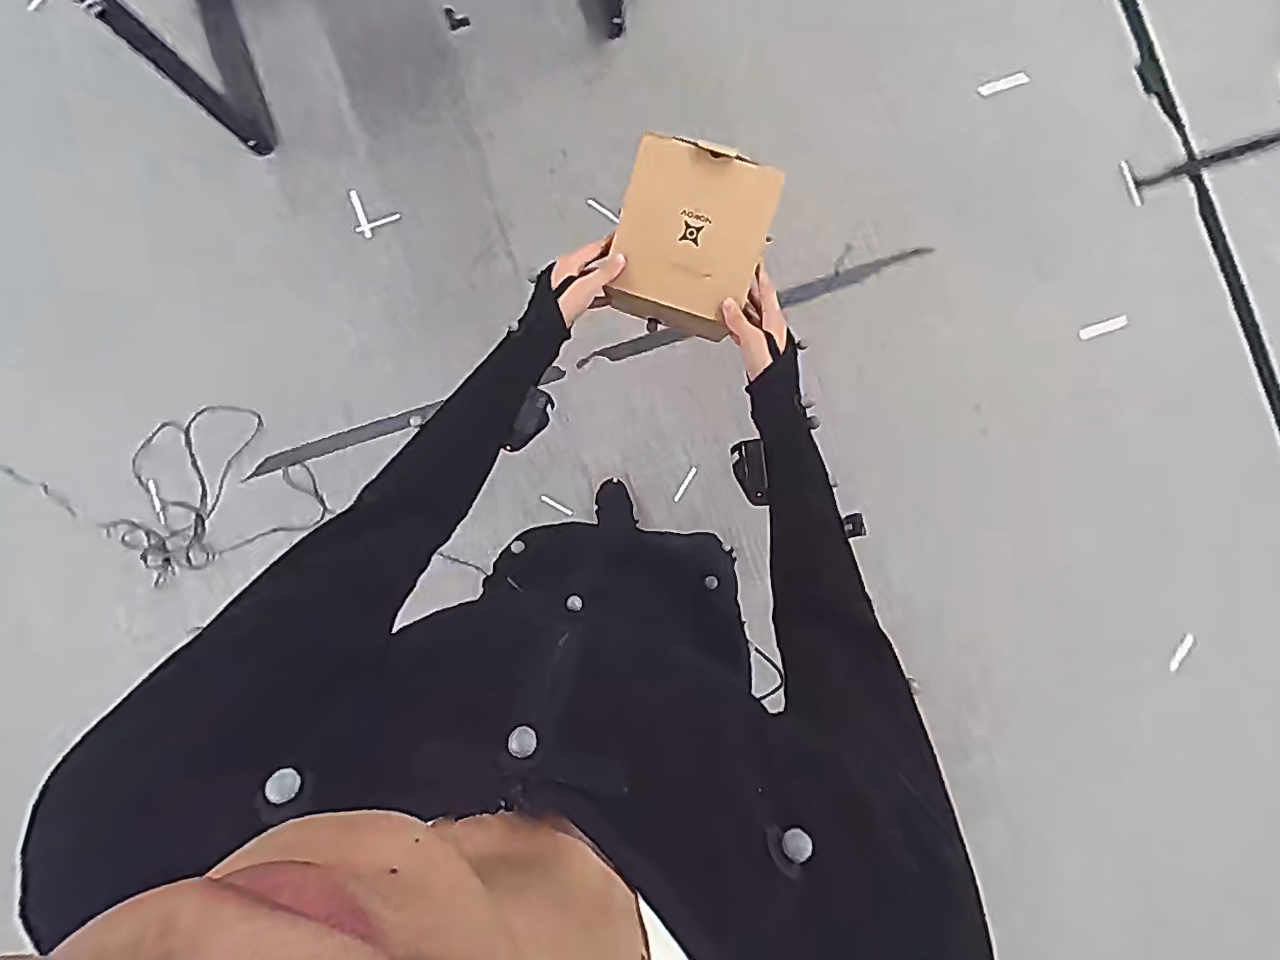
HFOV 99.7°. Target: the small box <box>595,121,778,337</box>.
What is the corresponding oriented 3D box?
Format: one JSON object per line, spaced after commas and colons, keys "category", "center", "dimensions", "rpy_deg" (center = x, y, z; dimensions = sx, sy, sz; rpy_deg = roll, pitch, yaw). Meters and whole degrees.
{"category": "small box", "center": [0.050, -0.292, 0.672], "dimensions": [0.168, 0.176, 0.179], "rpy_deg": [16, 98, -1]}
